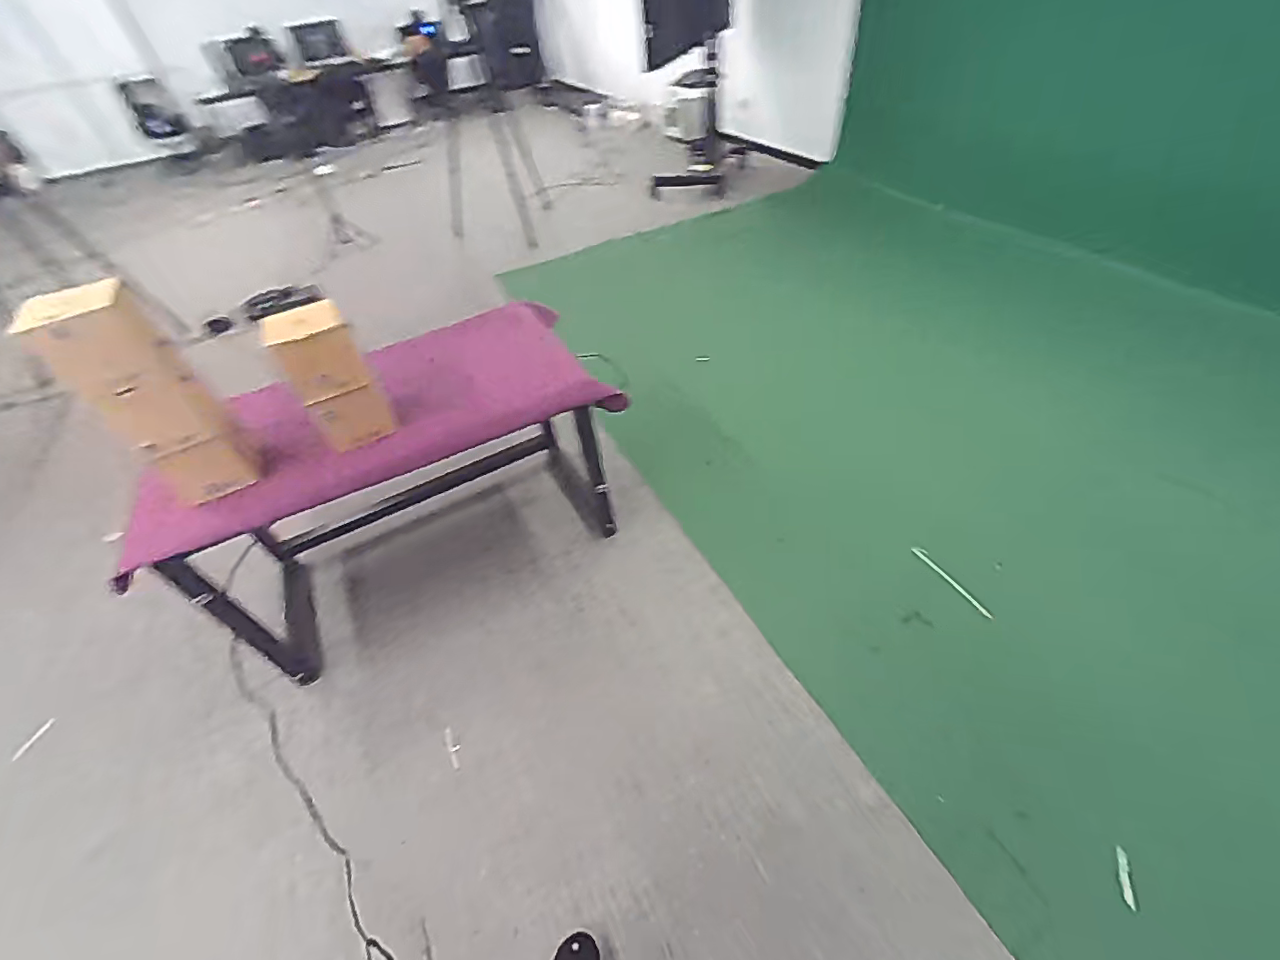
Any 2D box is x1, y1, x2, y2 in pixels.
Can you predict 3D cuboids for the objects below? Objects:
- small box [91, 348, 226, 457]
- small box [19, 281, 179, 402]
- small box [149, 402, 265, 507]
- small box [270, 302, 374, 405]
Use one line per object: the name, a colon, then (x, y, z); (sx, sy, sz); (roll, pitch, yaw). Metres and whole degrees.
small box: (-1.105, -0.174, 1.258); (0.168, 0.176, 0.179); (-26, 46, -16)
small box: (-1.126, -0.293, 1.147); (0.168, 0.176, 0.179); (-26, 47, -16)
small box: (-1.092, -0.064, 1.379); (0.168, 0.176, 0.179); (-26, 48, -16)
small box: (-0.794, -0.317, 1.355); (0.168, 0.176, 0.179); (-25, 47, -16)
